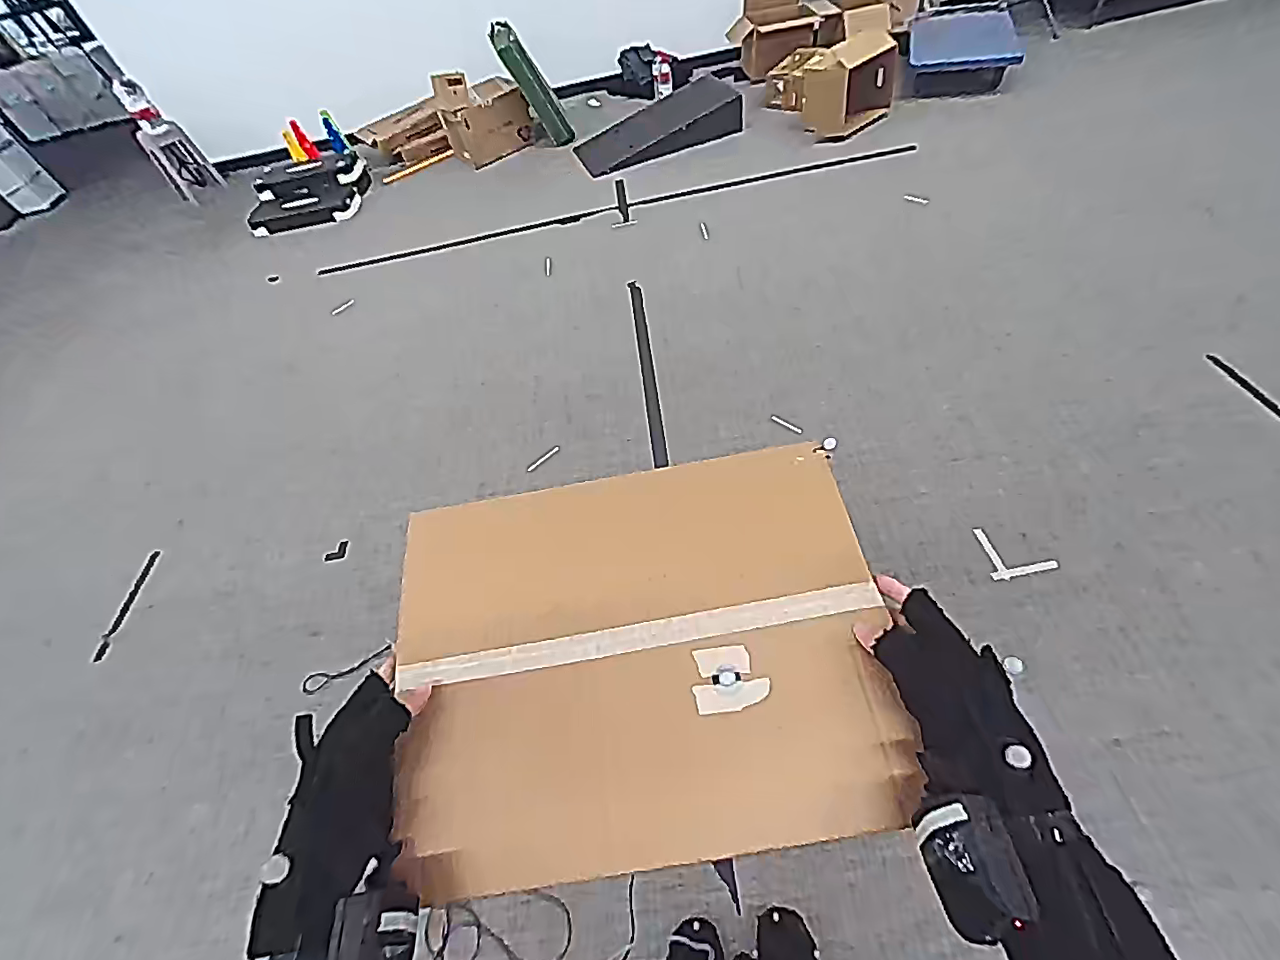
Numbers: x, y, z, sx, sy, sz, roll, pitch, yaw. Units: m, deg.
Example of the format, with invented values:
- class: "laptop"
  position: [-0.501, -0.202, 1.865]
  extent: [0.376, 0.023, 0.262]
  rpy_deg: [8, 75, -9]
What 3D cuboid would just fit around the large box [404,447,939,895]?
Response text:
- class: "large box"
  position: [0.013, 0.207, 0.591]
  extent: [0.408, 0.320, 0.320]
  rpy_deg: [-10, 60, 0]
